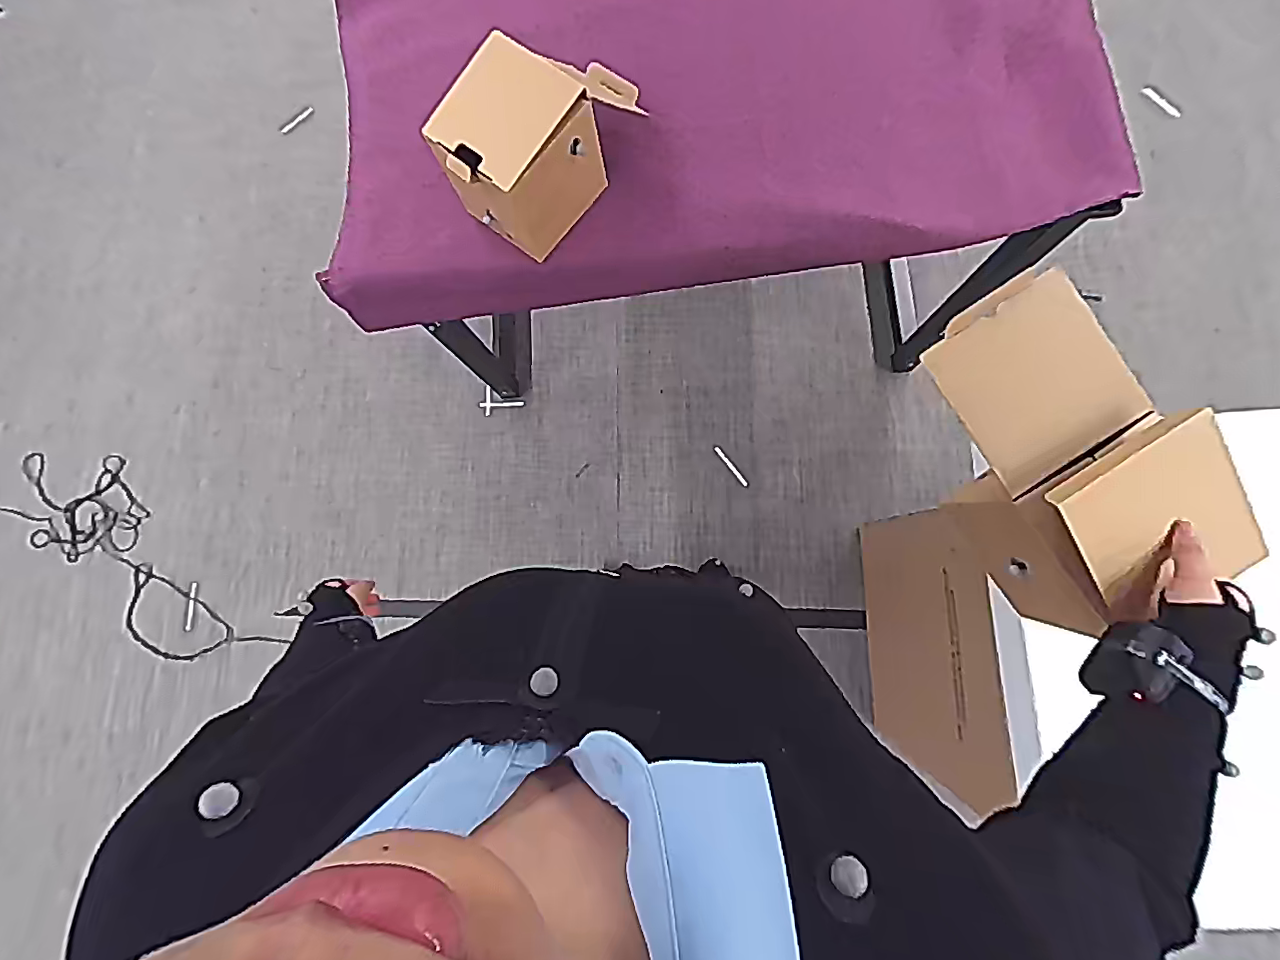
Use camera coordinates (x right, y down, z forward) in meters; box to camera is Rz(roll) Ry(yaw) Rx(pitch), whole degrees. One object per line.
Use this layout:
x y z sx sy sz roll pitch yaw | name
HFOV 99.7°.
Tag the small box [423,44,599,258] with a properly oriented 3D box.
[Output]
-0.177 -0.480 0.810 0.168 0.176 0.179 38 85 11 | small box
